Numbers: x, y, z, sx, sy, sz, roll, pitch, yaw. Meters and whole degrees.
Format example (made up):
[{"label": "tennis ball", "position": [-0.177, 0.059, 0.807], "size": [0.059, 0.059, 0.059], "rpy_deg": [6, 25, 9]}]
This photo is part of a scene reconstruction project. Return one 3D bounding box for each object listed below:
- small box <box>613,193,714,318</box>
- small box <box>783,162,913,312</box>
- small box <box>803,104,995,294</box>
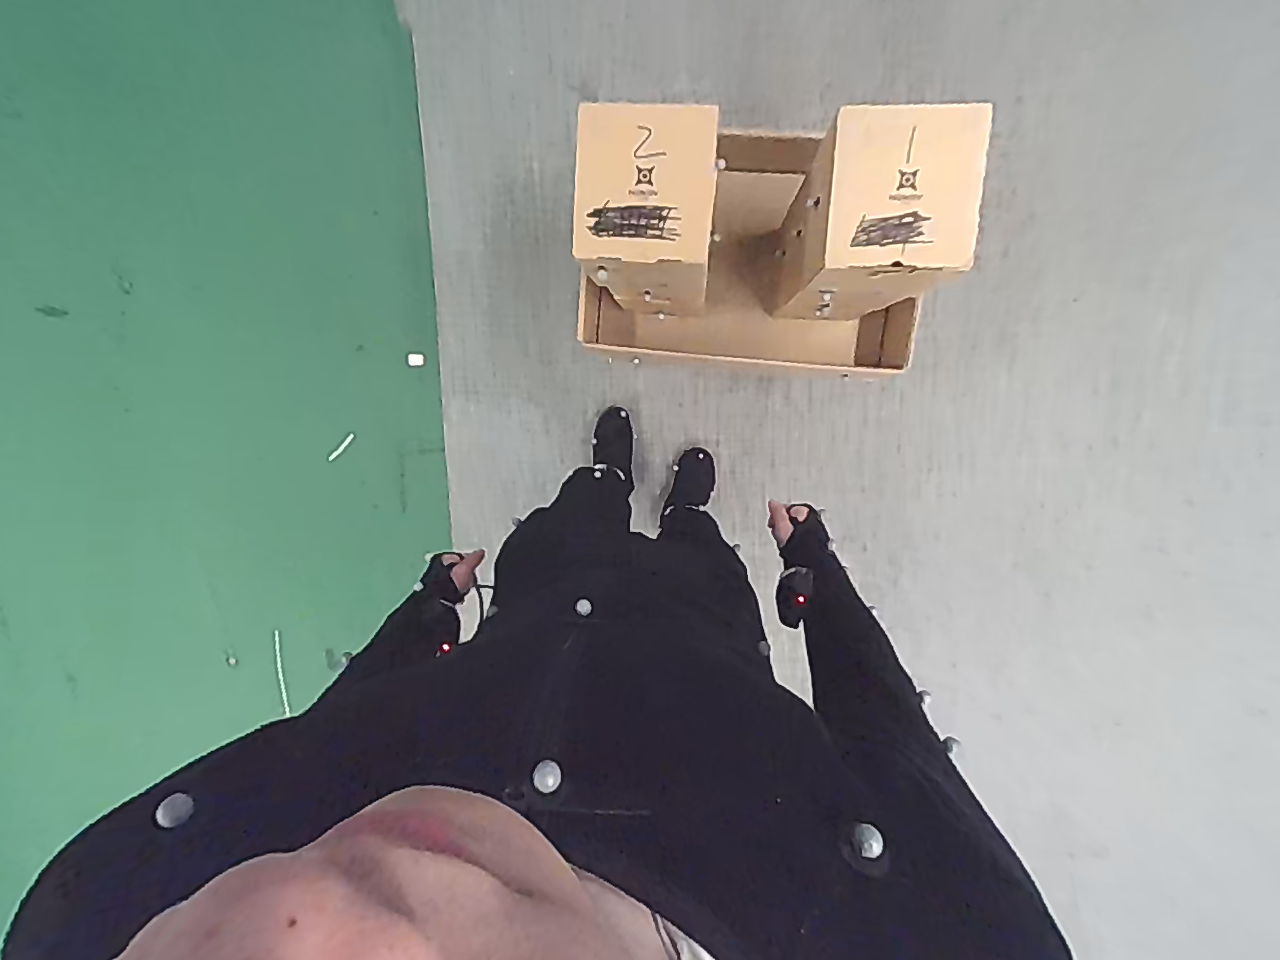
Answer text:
[{"label": "small box", "position": [0.046, -0.418, 1.028], "size": [0.168, 0.176, 0.179], "rpy_deg": [6, 99, 5]}, {"label": "small box", "position": [0.325, -0.369, 0.845], "size": [0.168, 0.176, 0.179], "rpy_deg": [4, 100, 5]}, {"label": "small box", "position": [0.309, -0.339, 0.684], "size": [0.168, 0.176, 0.179], "rpy_deg": [4, 98, 6]}]
